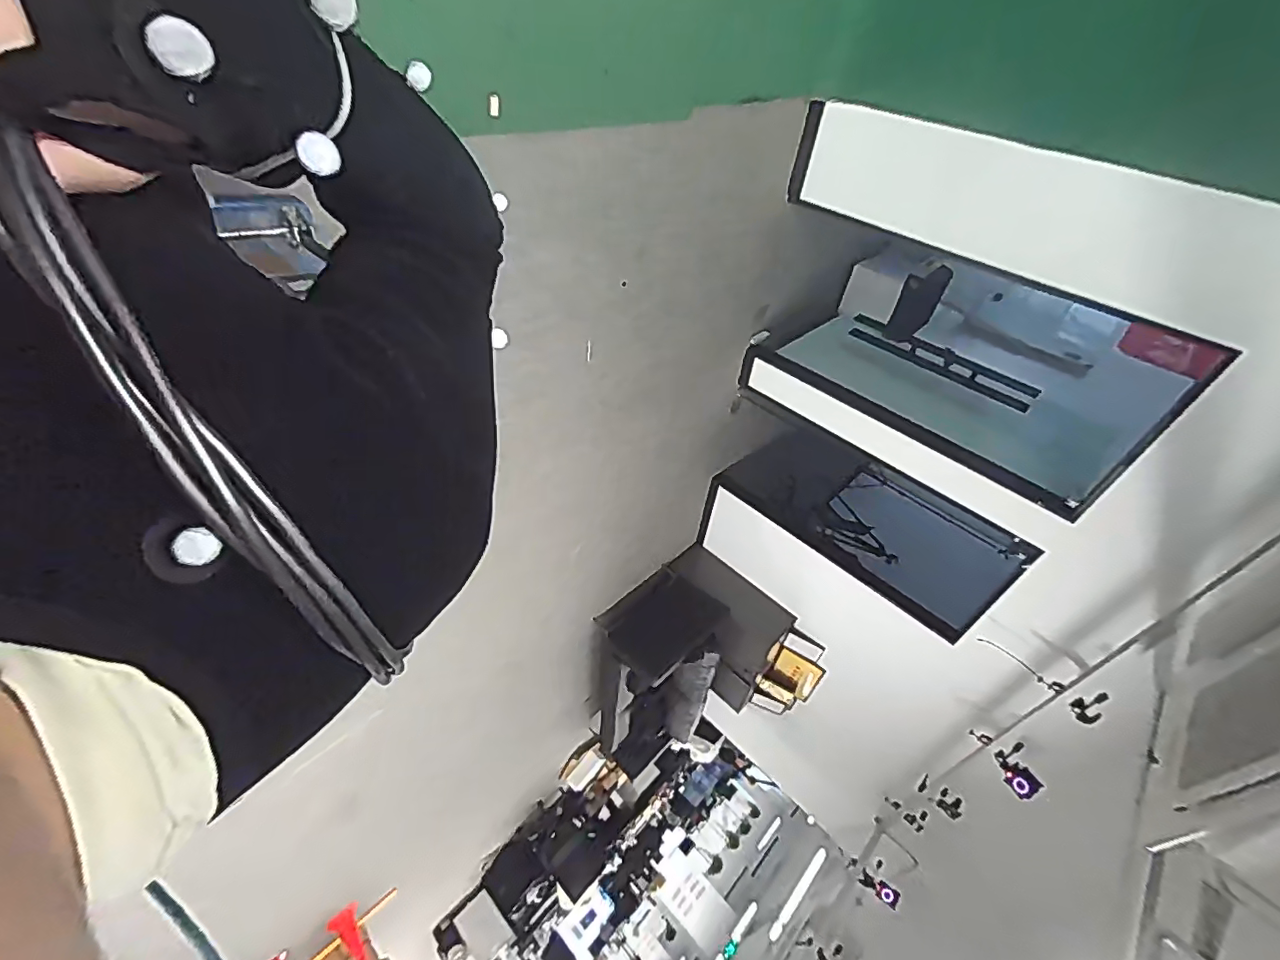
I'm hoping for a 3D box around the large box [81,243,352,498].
[{"bbox_3d":[-0.881,-0.245,1.169,0.320,0.320,0.408,-28,145,-40],"label":"large box"}]
